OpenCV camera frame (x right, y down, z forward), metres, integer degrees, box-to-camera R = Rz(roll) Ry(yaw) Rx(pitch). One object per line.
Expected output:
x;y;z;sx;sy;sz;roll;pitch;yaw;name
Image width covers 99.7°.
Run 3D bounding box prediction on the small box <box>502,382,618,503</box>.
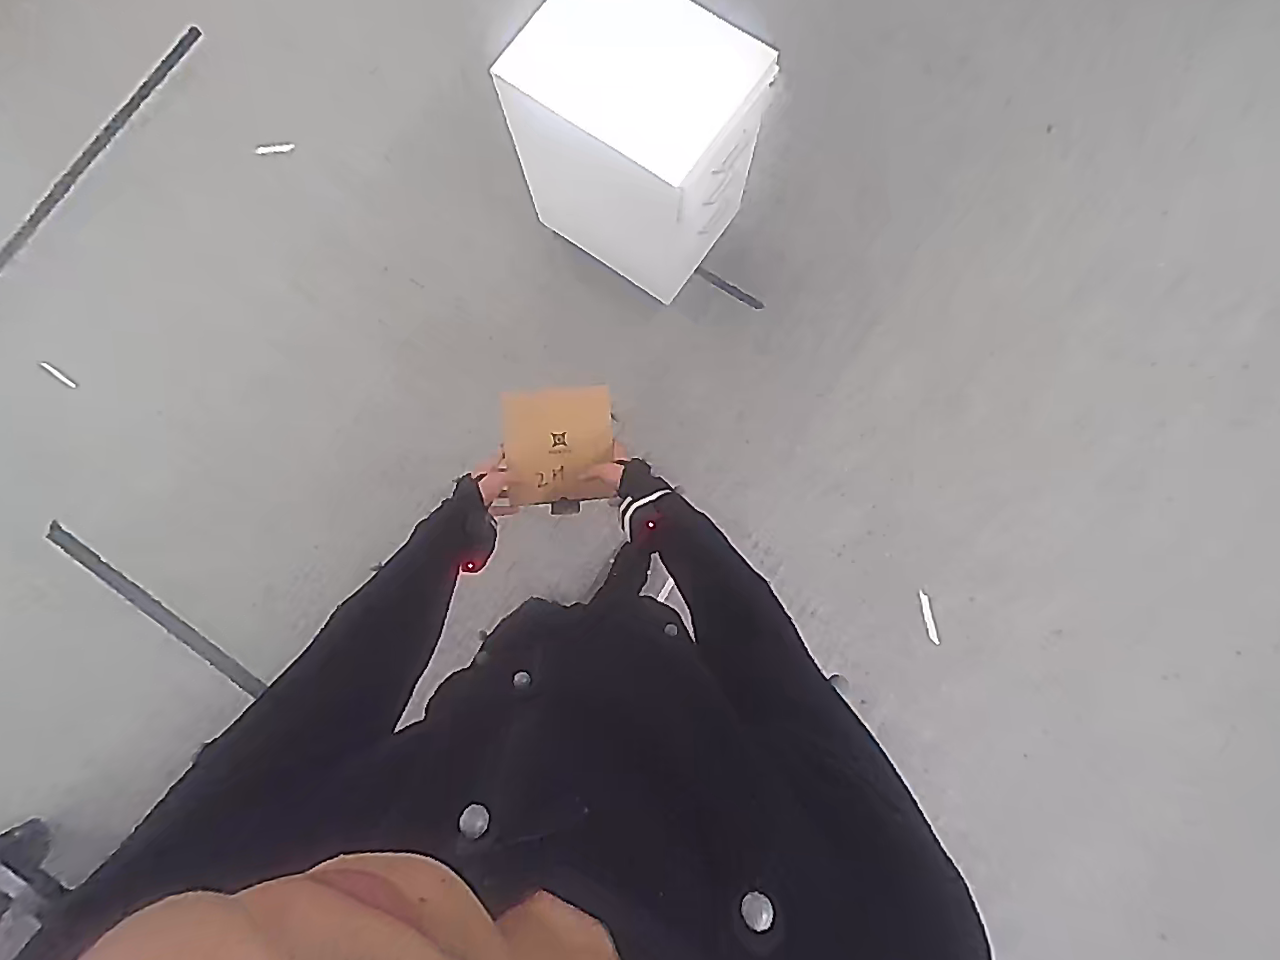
-0.124;-0.057;0.897;0.168;0.176;0.179;-5;91;-1;small box
